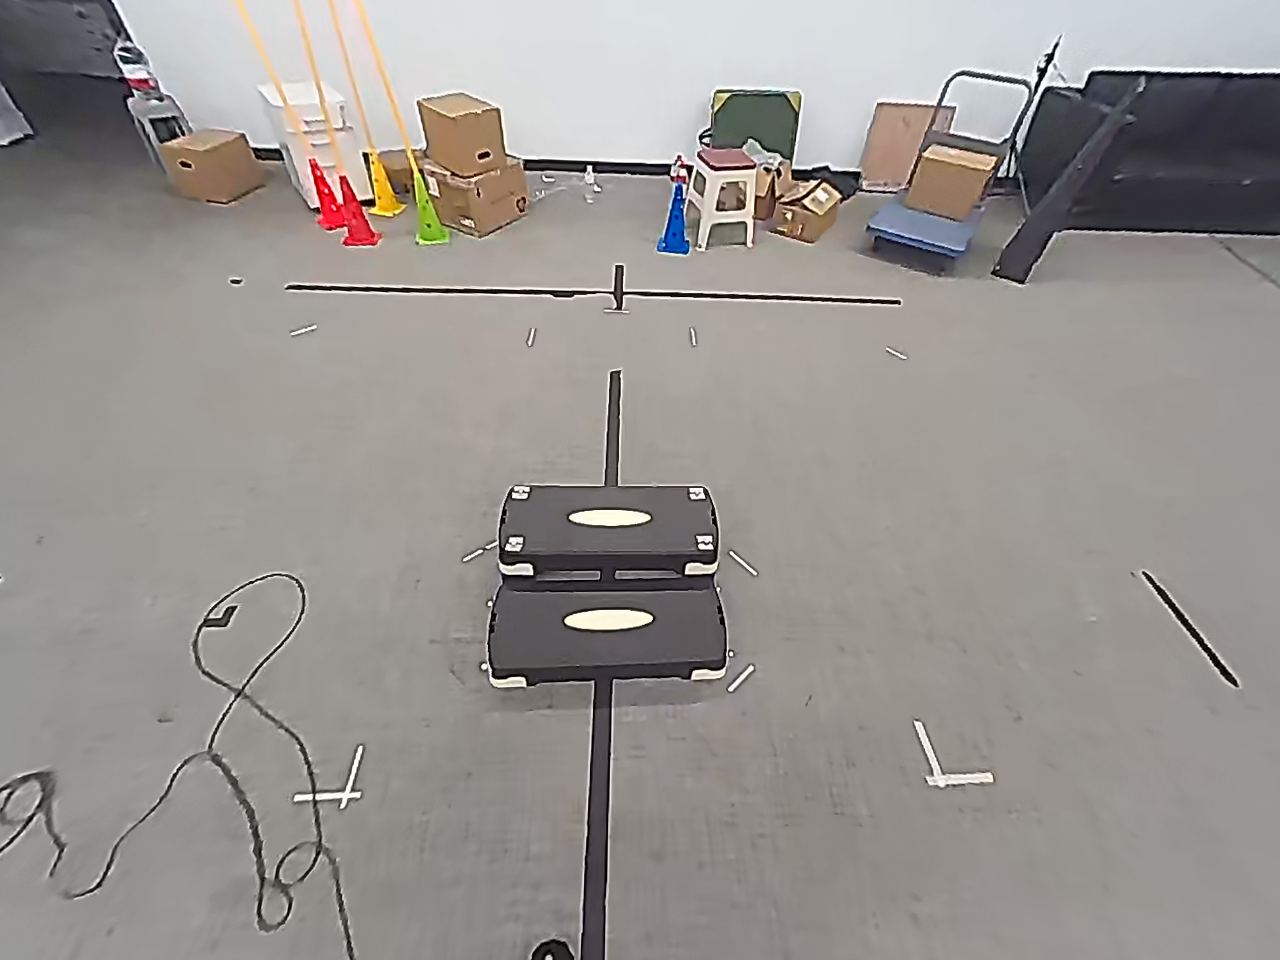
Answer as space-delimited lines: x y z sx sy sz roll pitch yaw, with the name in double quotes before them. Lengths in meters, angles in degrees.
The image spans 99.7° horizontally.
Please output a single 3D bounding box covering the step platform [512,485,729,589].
"step platform" -0.061 0.176 1.735 0.684 0.204 0.286 1 47 -4
